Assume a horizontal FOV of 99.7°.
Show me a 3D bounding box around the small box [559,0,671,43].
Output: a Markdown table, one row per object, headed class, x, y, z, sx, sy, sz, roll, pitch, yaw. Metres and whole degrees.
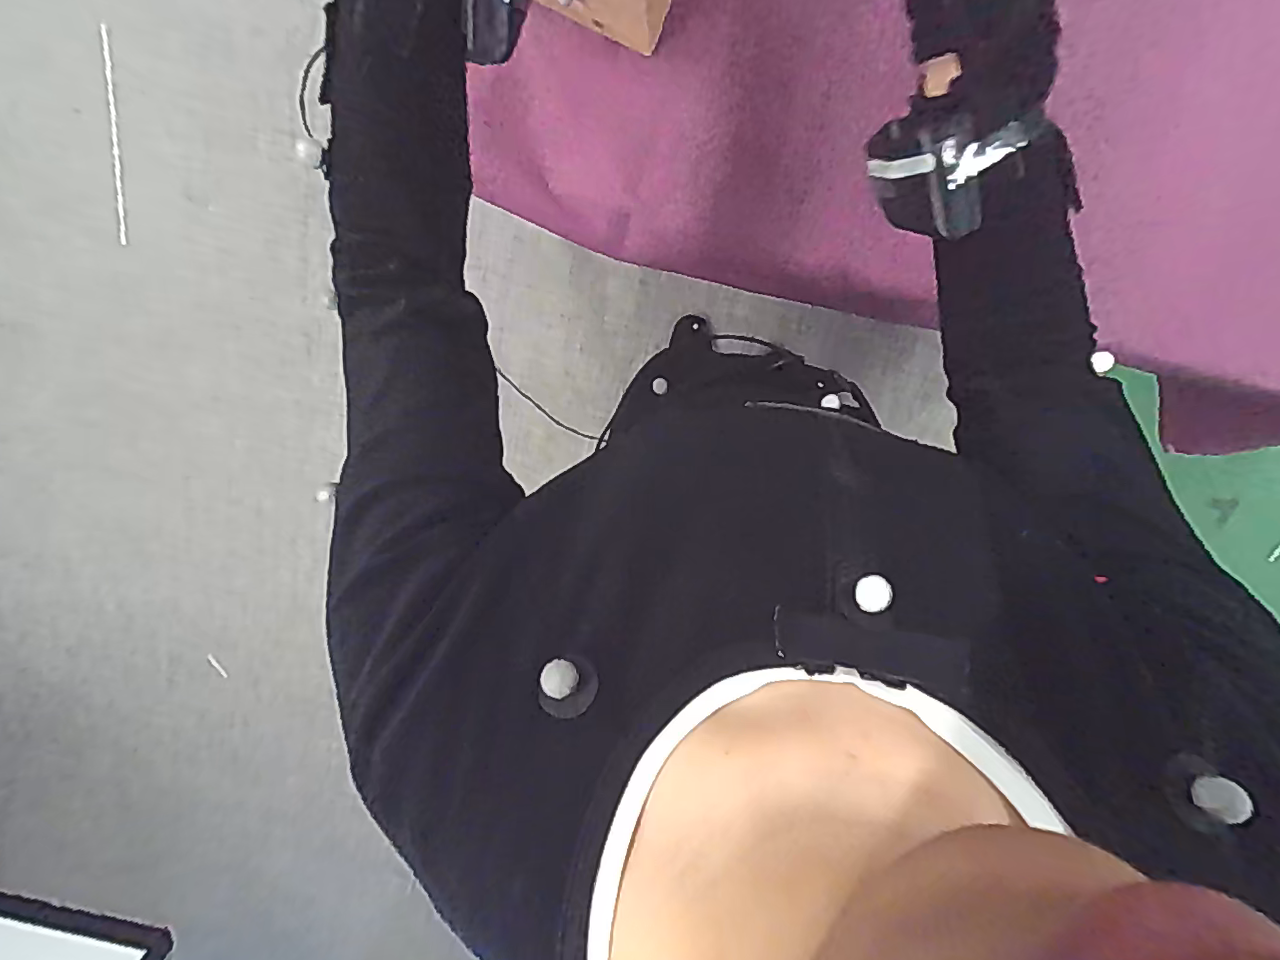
| class | x | y | z | sx | sy | sz | roll | pitch | yaw |
| --- | --- | --- | --- | --- | --- | --- | --- | --- | --- |
| small box | -0.033 | -0.543 | 0.479 | 0.168 | 0.176 | 0.179 | 23 | 109 | -4 |
